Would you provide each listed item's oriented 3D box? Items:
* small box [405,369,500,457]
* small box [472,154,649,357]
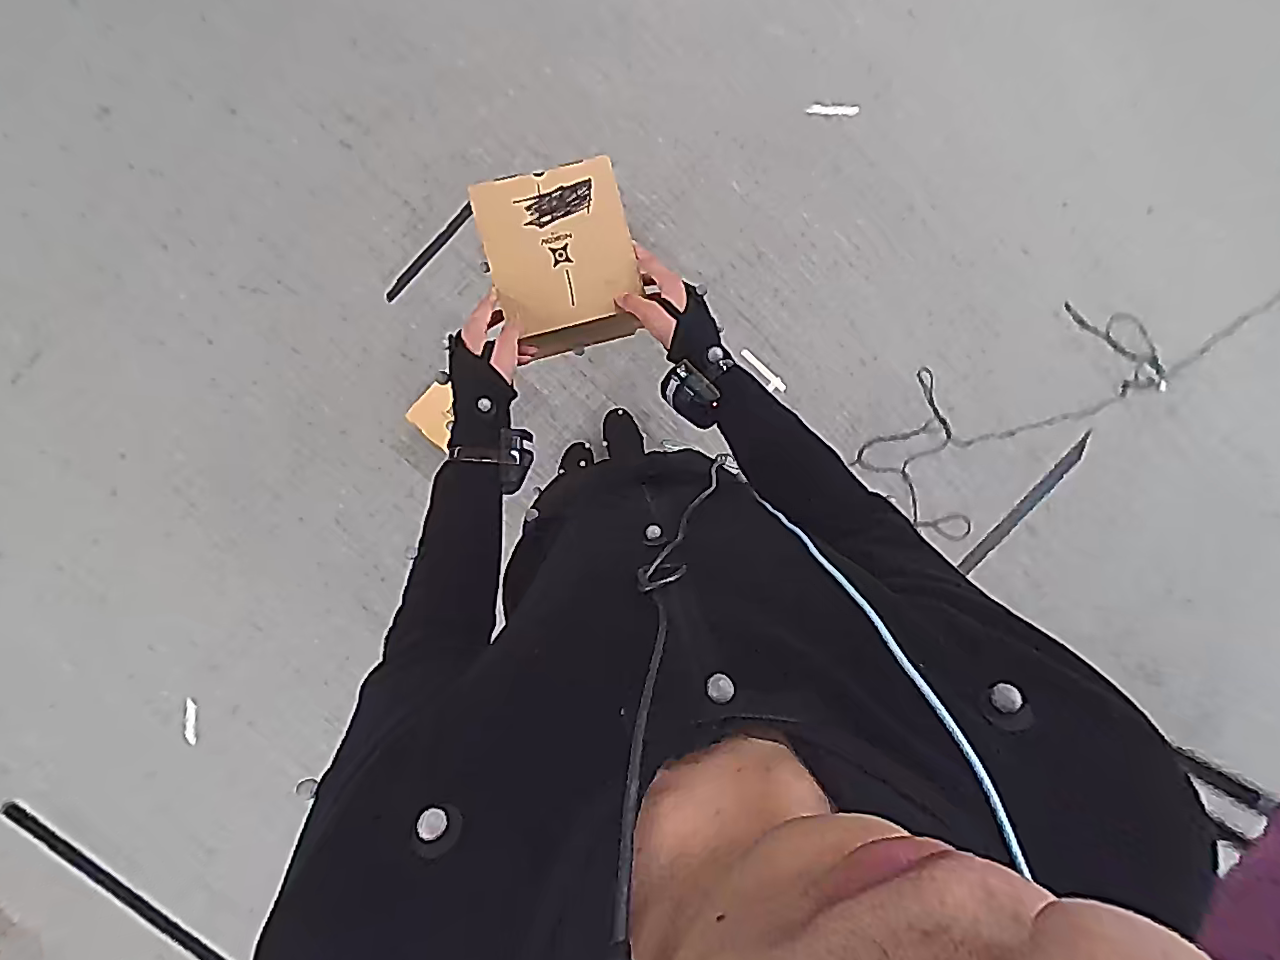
[{"bbox_3d":[-0.509,-0.184,1.499,0.168,0.176,0.179,42,91,-7],"label":"small box"},{"bbox_3d":[-0.096,-0.270,0.686,0.168,0.176,0.179,-15,97,-5],"label":"small box"}]
